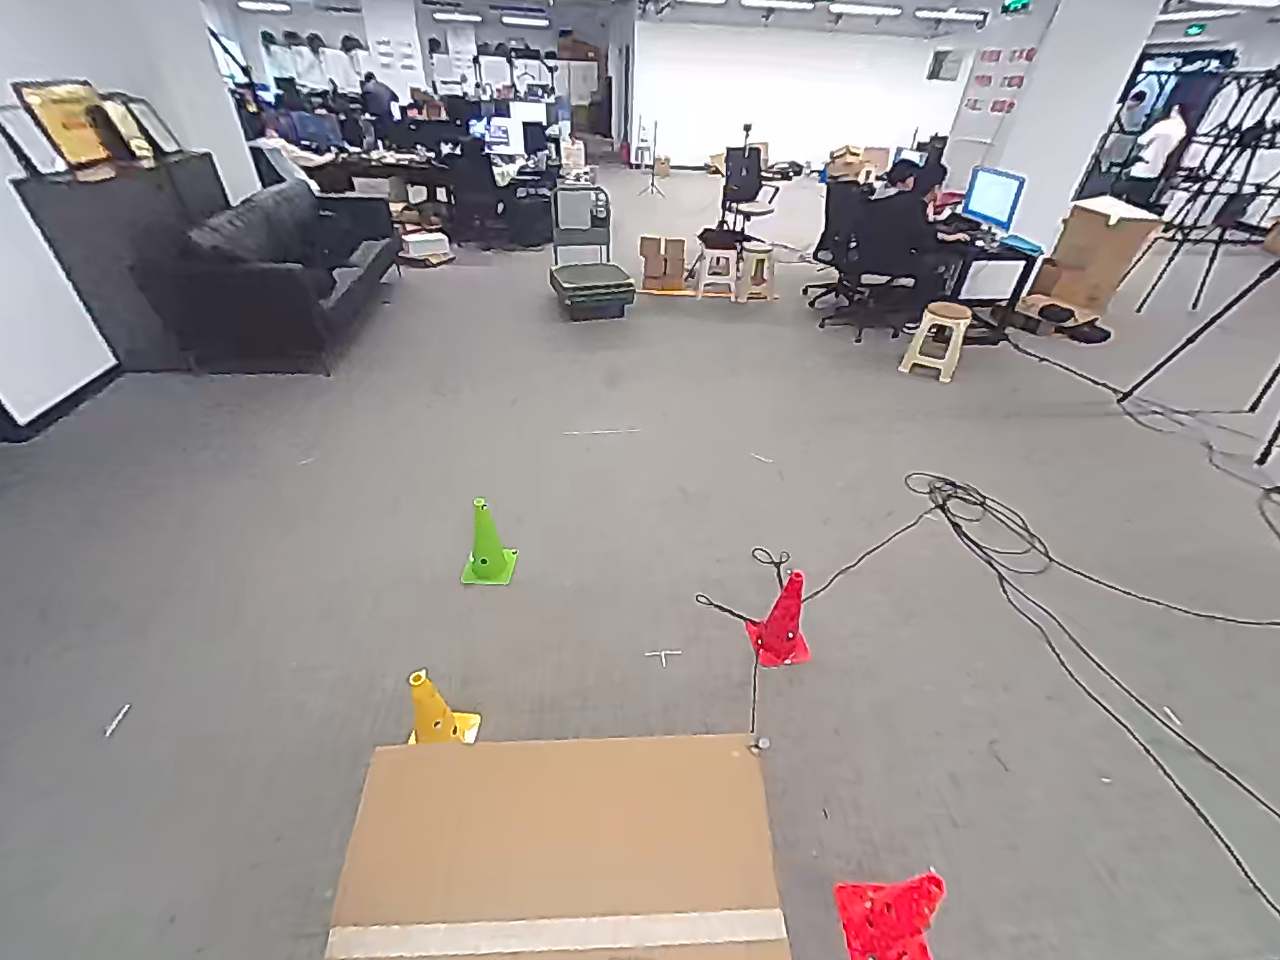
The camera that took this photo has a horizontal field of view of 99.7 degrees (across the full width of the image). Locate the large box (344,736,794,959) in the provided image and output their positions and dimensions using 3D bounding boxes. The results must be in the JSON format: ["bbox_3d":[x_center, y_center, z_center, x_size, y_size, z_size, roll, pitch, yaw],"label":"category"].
[{"bbox_3d":[-0.065,0.498,0.605,0.408,0.320,0.320,-2,53,-1],"label":"large box"}]

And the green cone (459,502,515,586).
[{"bbox_3d":[-0.633,0.231,2.157,0.200,0.368,0.202,1,38,-1],"label":"green cone"}]

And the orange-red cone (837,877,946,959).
[{"bbox_3d":[0.611,0.985,1.234,0.199,0.360,0.198,4,38,-1],"label":"orange-red cone"}]
